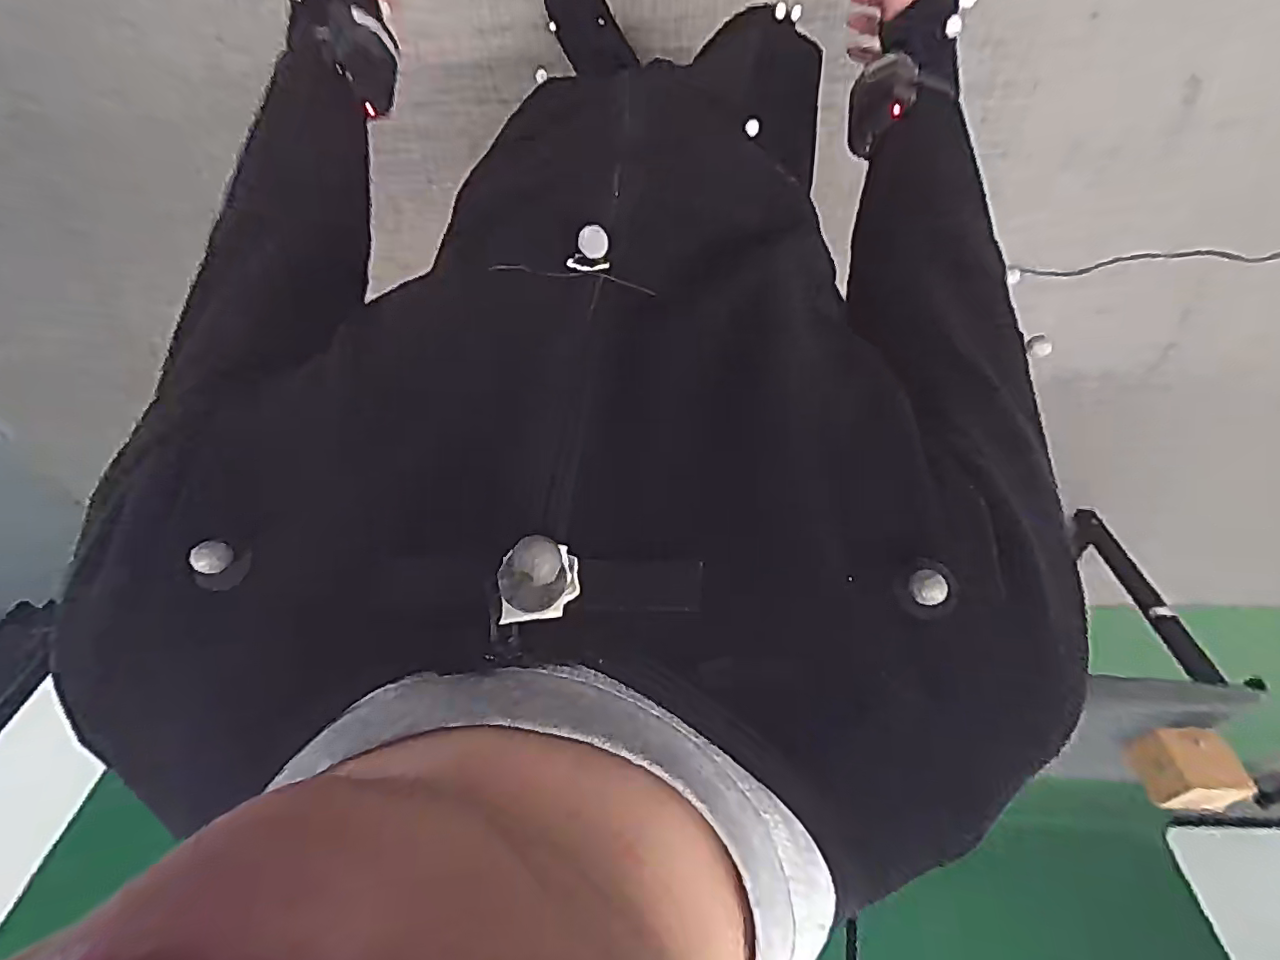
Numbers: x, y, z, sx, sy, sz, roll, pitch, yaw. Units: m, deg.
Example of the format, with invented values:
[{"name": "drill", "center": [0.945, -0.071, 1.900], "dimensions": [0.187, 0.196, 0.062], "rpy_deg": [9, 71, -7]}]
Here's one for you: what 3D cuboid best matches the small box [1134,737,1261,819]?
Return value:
[{"name": "small box", "center": [1.602, 0.866, 1.573], "dimensions": [0.168, 0.176, 0.179], "rpy_deg": [-2, 134, 5]}]
